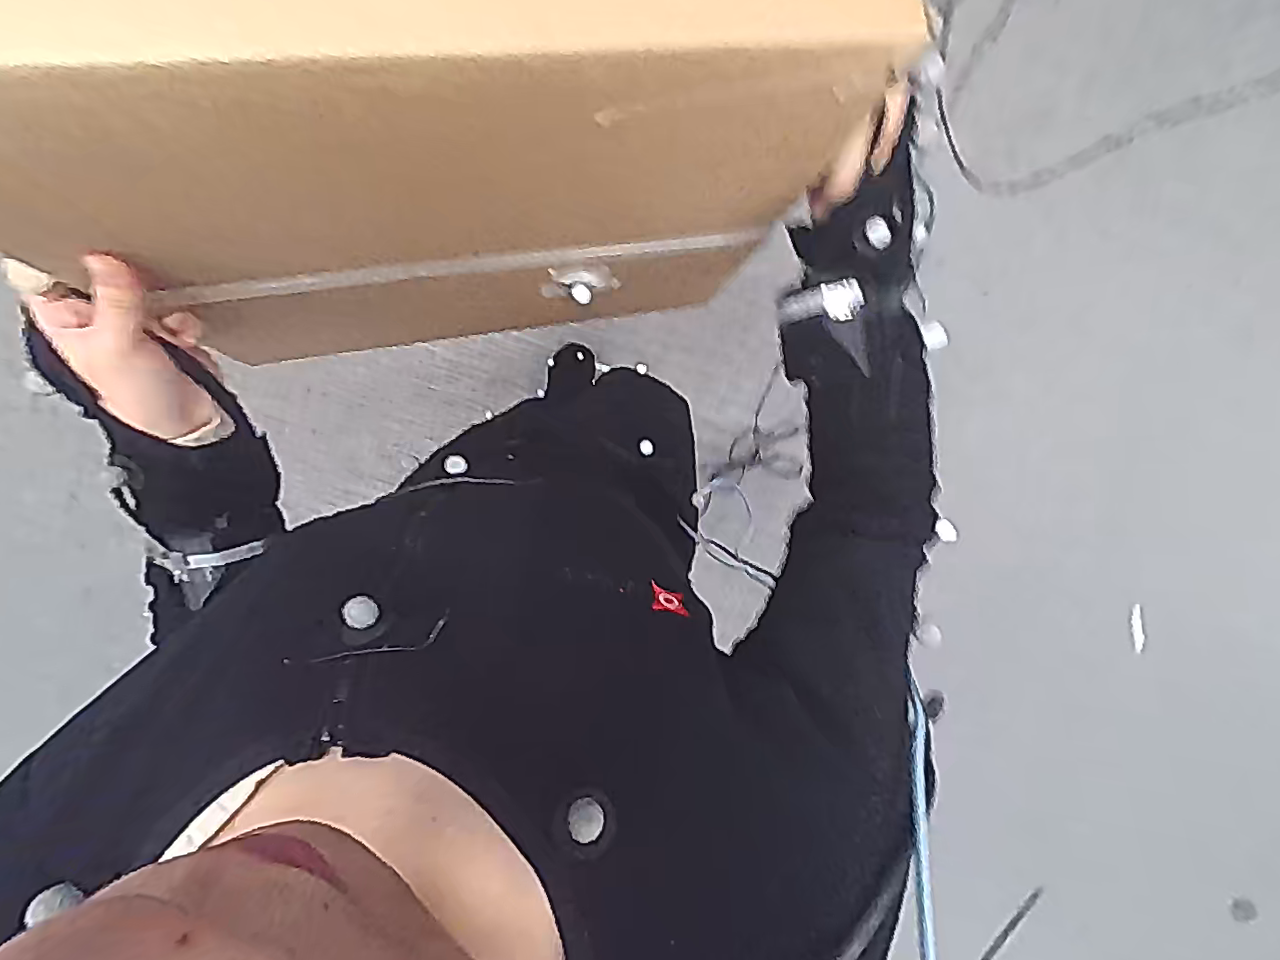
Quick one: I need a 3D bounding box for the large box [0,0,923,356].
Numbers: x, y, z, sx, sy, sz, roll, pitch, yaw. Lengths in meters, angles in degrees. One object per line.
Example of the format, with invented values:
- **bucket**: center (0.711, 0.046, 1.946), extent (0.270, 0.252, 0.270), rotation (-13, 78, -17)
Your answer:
- **large box**: center (-0.133, -0.294, 0.326), extent (0.408, 0.320, 0.320), rotation (-12, 91, -11)
